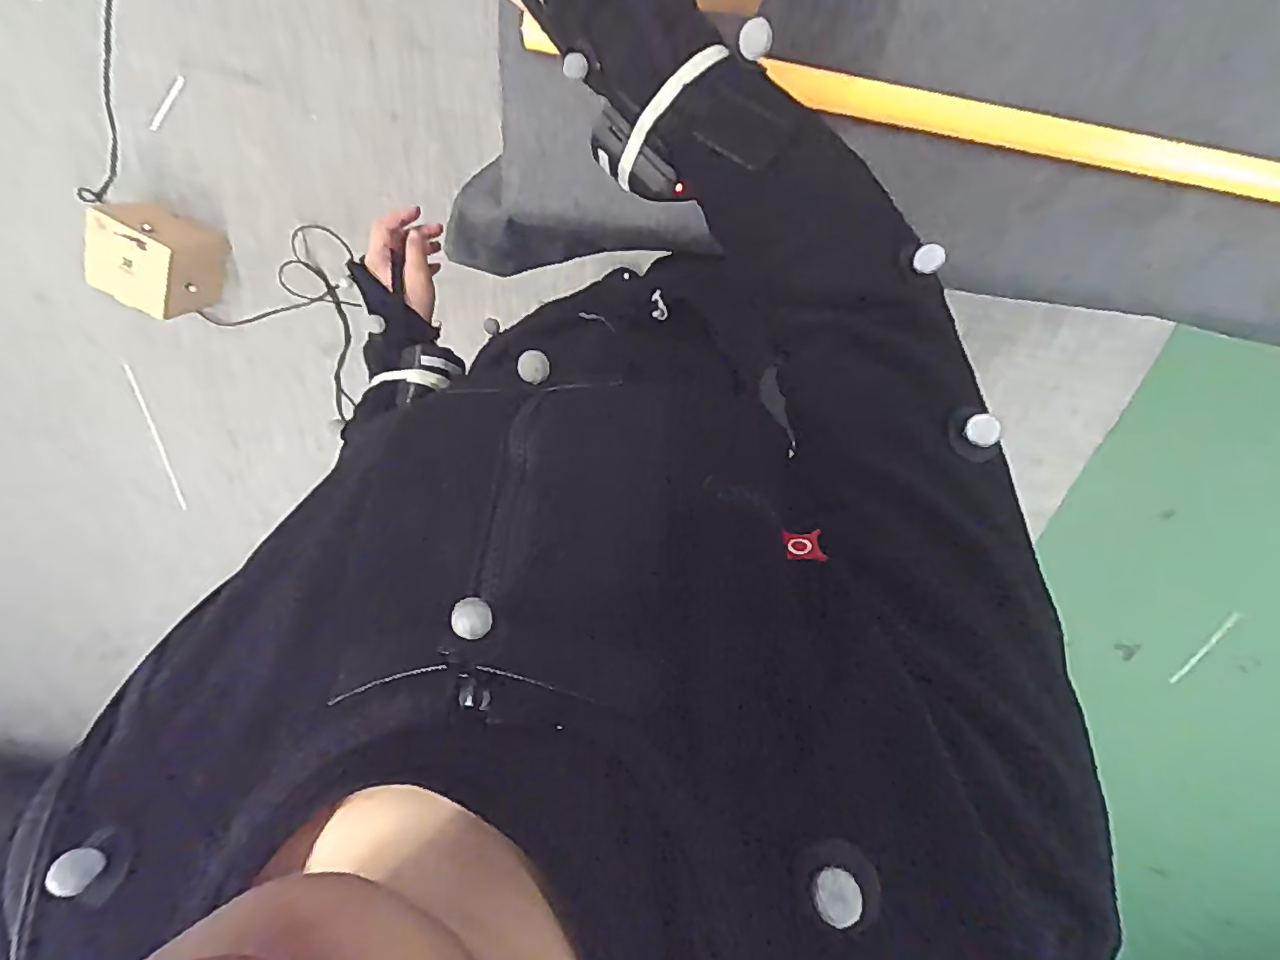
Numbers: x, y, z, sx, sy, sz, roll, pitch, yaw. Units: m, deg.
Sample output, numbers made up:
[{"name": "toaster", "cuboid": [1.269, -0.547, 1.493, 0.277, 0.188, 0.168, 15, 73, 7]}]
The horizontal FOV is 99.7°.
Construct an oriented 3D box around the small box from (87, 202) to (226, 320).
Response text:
[{"name": "small box", "cuboid": [-1.071, -0.493, 1.208, 0.168, 0.176, 0.179, 28, 119, -11]}]
